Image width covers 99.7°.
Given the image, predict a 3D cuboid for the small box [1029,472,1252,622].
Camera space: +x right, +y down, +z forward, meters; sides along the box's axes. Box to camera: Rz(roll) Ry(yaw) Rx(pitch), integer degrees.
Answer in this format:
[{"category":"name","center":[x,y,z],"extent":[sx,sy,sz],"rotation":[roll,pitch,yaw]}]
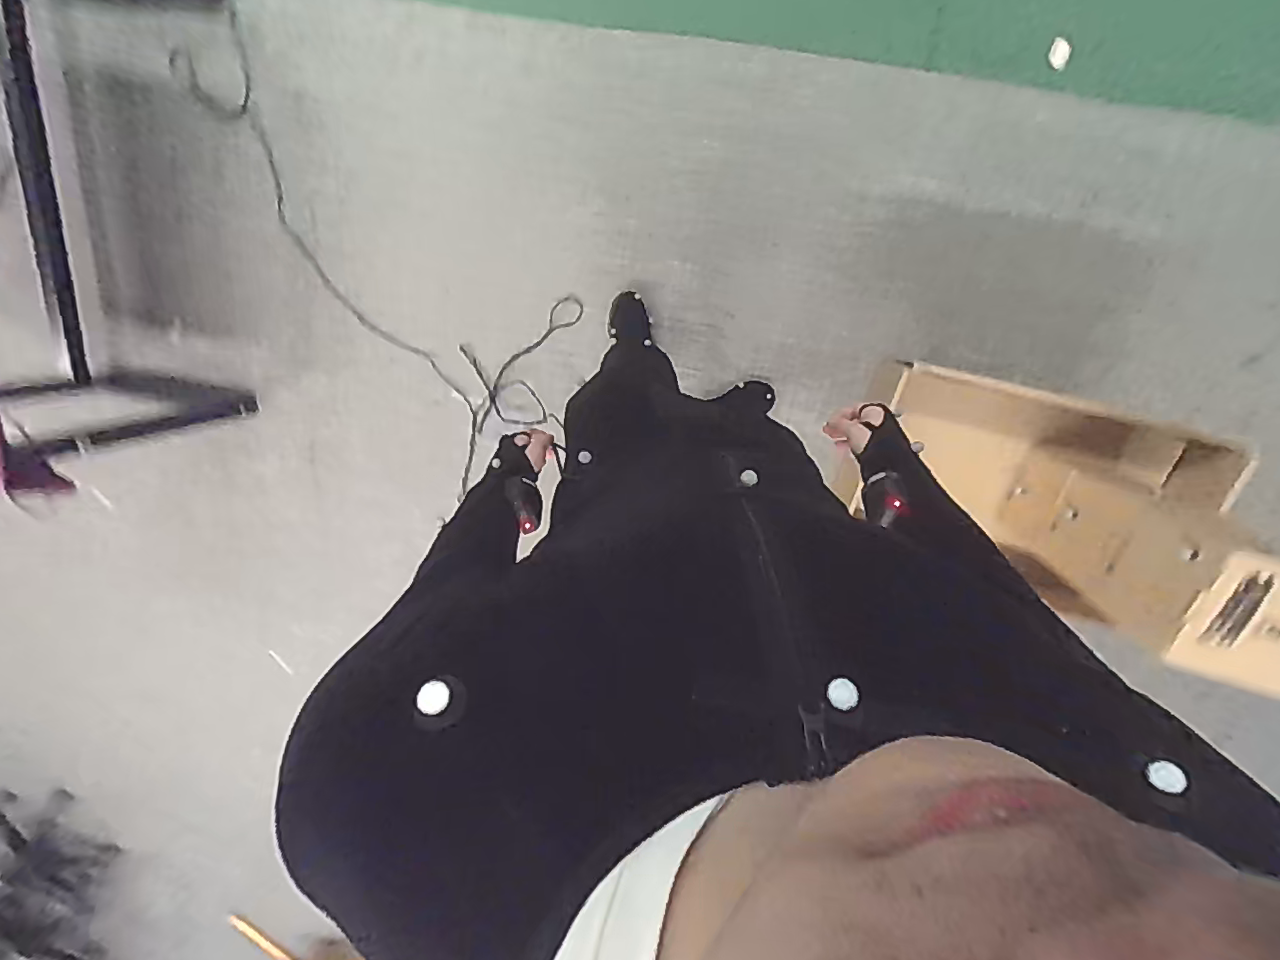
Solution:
[{"category":"small box","center":[0.800,0.100,0.890],"extent":[0.179,0.176,0.168],"rotation":[16,110,5]}]

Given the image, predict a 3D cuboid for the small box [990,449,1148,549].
[{"category":"small box","center":[0.829,0.052,1.042],"extent":[0.179,0.176,0.168],"rotation":[16,109,5]}]
